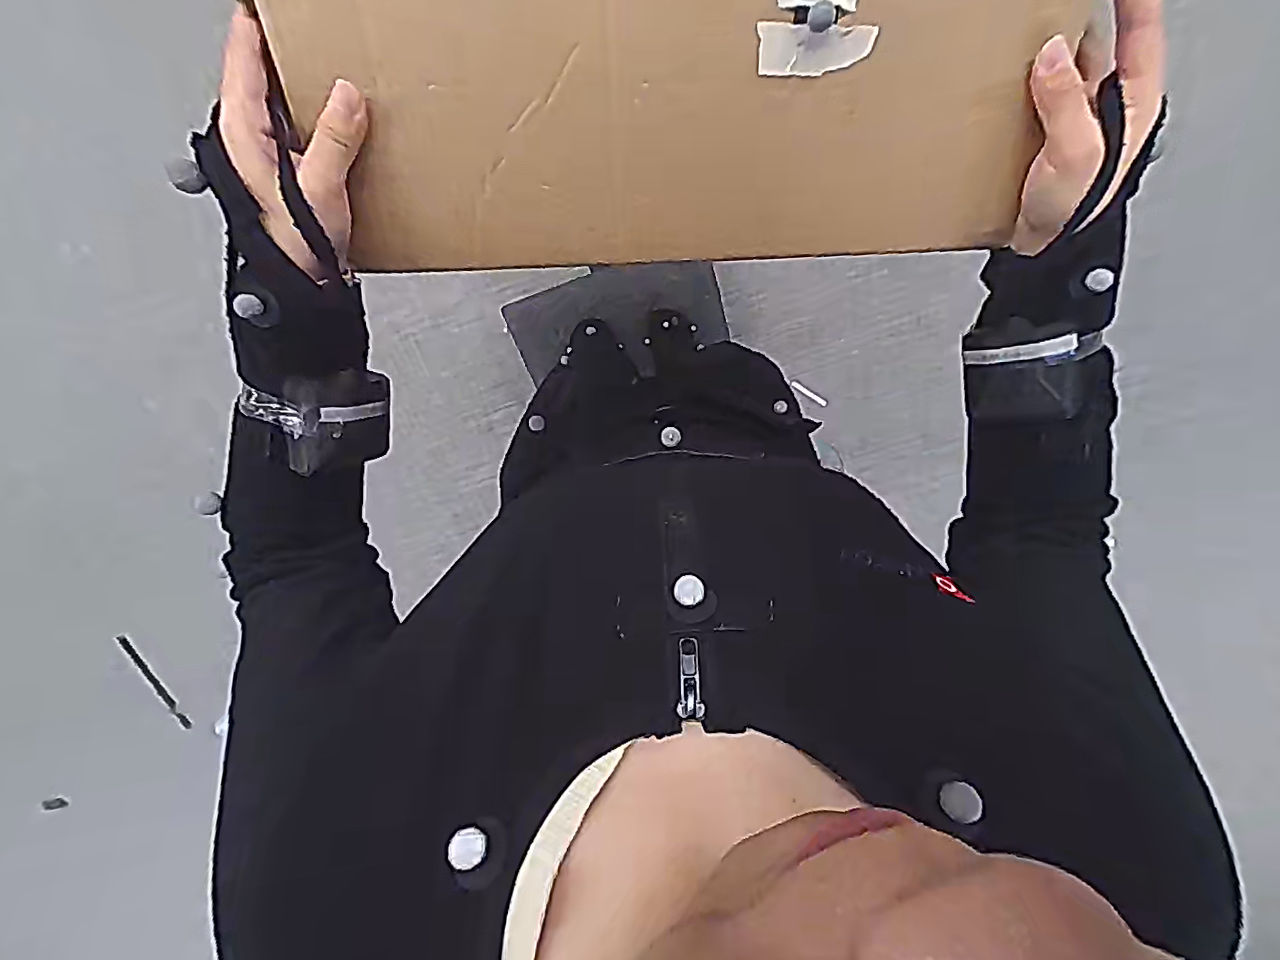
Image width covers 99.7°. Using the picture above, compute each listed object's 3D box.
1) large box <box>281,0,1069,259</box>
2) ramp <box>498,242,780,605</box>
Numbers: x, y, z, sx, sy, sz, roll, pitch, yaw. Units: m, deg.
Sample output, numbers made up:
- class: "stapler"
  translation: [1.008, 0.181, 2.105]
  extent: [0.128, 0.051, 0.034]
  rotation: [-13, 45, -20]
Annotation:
- class: "large box"
  translation: [0.013, -0.355, 0.374]
  extent: [0.408, 0.320, 0.320]
  rotation: [-2, 124, -2]
- class: "ramp"
  translation: [0.058, -0.075, 1.453]
  extent: [0.509, 0.206, 0.991]
  rotation: [-20, 110, 5]
